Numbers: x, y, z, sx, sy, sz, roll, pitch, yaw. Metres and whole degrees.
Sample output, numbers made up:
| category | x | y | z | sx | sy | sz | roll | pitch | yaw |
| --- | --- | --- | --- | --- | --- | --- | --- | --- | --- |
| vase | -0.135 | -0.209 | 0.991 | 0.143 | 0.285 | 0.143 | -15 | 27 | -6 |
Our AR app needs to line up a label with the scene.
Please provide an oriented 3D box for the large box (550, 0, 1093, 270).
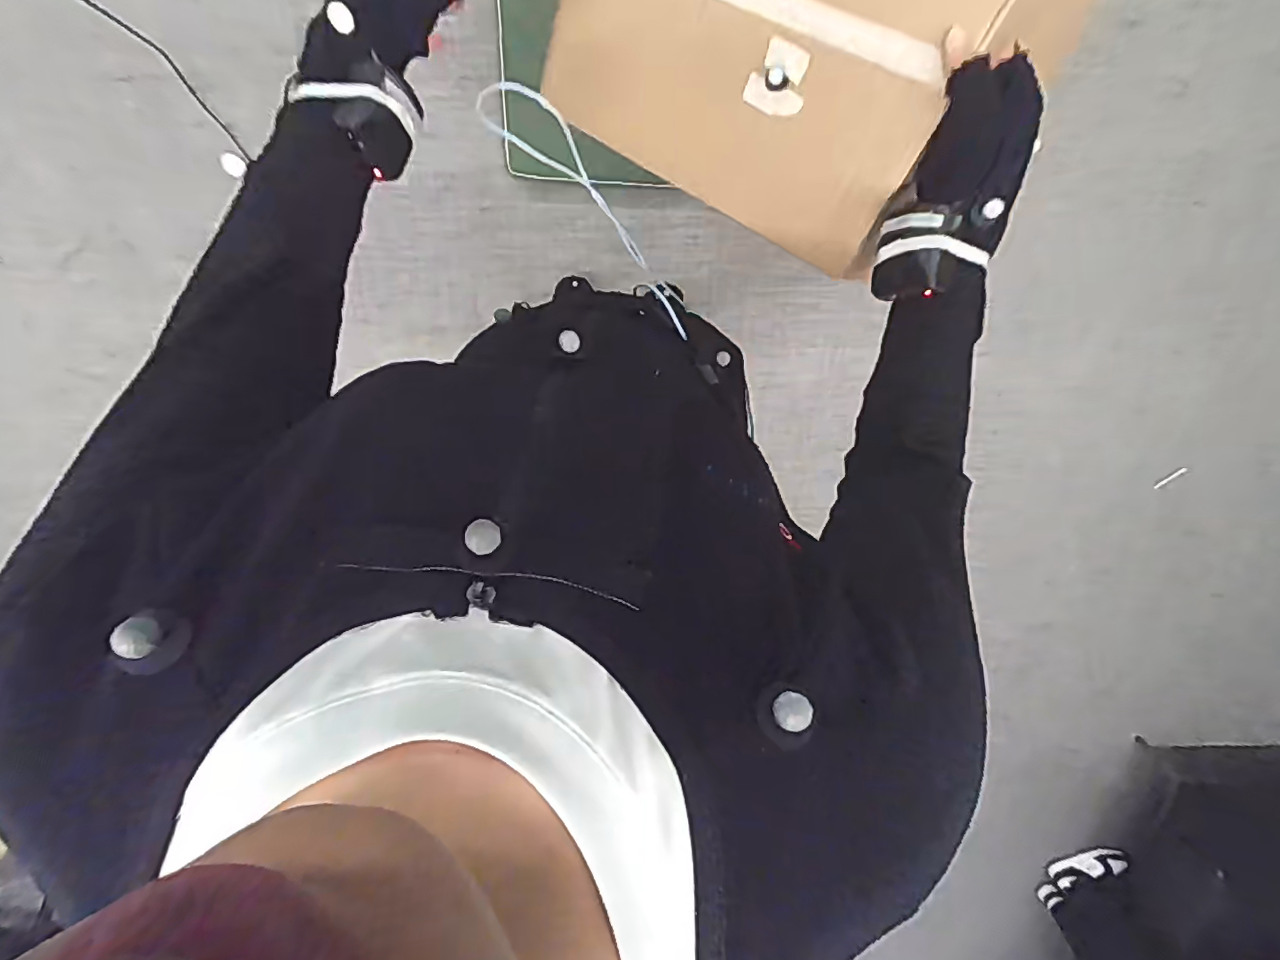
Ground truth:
| category | x | y | z | sx | sy | sz | roll | pitch | yaw |
| --- | --- | --- | --- | --- | --- | --- | --- | --- | --- |
| large box | 0.183 | -0.459 | 0.573 | 0.408 | 0.320 | 0.320 | 38 | 126 | 17 |
